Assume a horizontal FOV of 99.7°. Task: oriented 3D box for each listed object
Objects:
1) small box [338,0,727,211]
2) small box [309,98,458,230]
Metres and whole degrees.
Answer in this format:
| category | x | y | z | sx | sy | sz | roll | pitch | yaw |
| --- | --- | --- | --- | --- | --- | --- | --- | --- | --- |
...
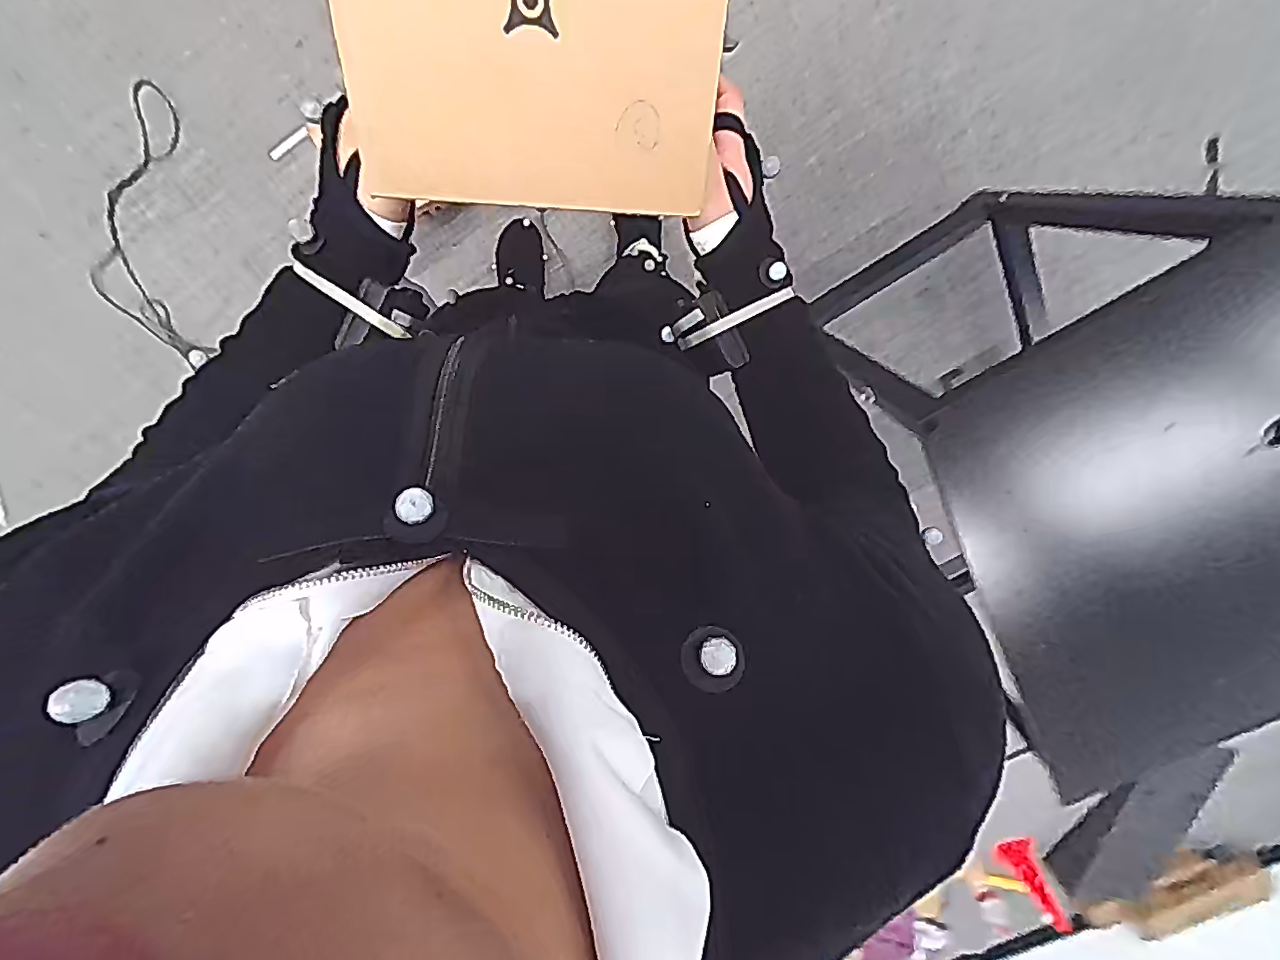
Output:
| category | x | y | z | sx | sy | sz | roll | pitch | yaw |
| --- | --- | --- | --- | --- | --- | --- | --- | --- | --- |
| small box | -0.049 | -0.258 | 0.288 | 0.168 | 0.176 | 0.179 | 0 | 125 | -7 |
| small box | -0.443 | -0.581 | 0.982 | 0.168 | 0.176 | 0.179 | -25 | 119 | 8 |
